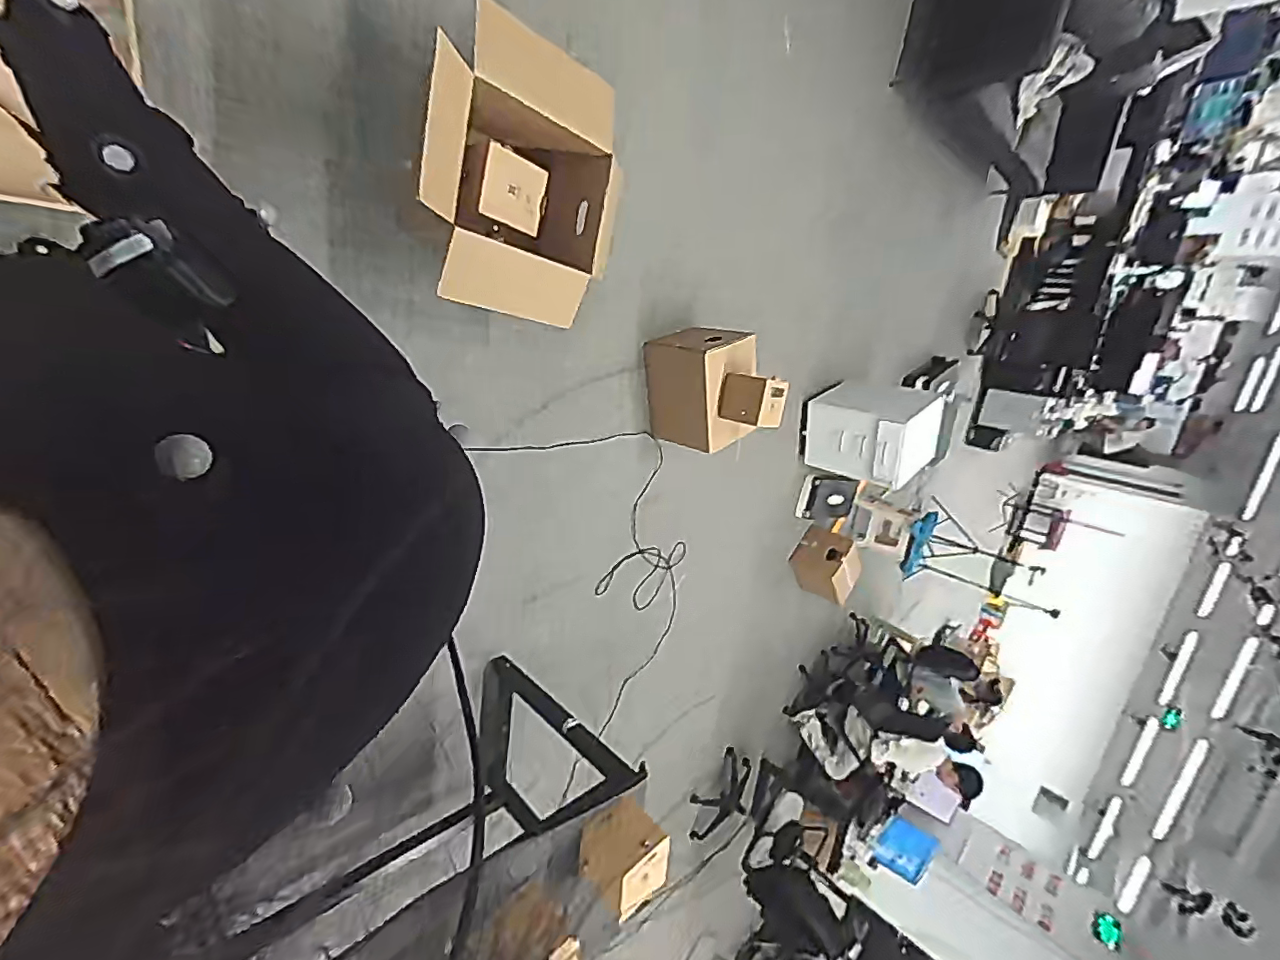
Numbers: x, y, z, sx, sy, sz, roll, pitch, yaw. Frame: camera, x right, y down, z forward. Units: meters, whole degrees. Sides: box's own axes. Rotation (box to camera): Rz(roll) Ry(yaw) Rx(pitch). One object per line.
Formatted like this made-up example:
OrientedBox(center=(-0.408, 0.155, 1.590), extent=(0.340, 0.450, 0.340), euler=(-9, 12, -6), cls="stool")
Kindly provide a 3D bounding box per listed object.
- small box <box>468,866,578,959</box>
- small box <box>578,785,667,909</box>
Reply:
OrientedBox(center=(-0.267, 1.052, 1.246), extent=(0.179, 0.176, 0.168), euler=(-26, 124, -37), cls="small box")
OrientedBox(center=(-0.051, 0.966, 1.440), extent=(0.168, 0.176, 0.179), euler=(-13, 116, -43), cls="small box")
